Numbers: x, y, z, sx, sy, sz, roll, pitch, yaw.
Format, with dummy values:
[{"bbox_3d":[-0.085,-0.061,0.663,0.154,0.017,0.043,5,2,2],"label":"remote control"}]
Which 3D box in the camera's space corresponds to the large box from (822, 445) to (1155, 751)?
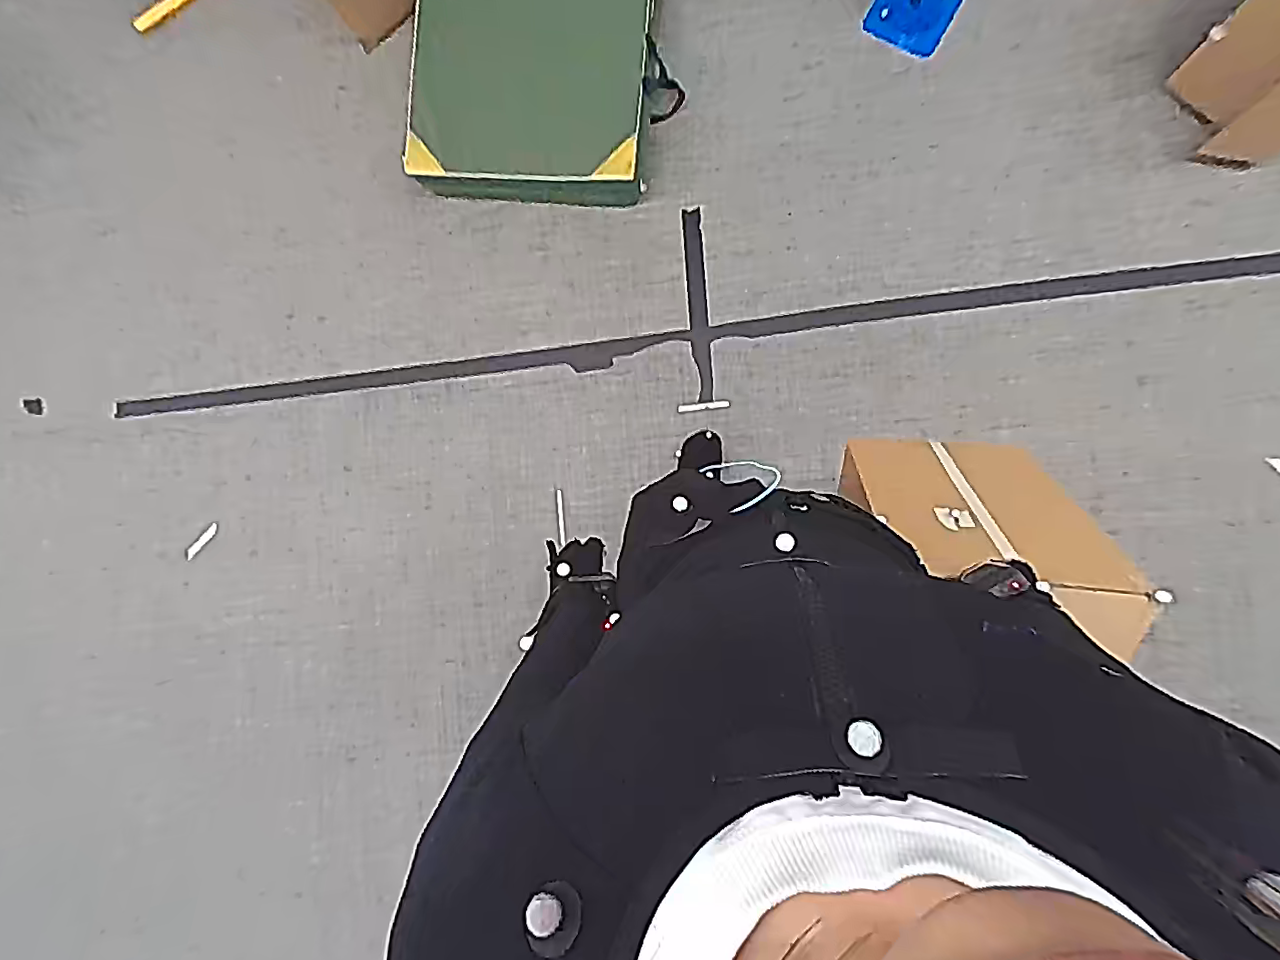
[{"bbox_3d":[0.517,0.173,0.929,0.320,0.408,0.320,4,121,9],"label":"large box"}]
